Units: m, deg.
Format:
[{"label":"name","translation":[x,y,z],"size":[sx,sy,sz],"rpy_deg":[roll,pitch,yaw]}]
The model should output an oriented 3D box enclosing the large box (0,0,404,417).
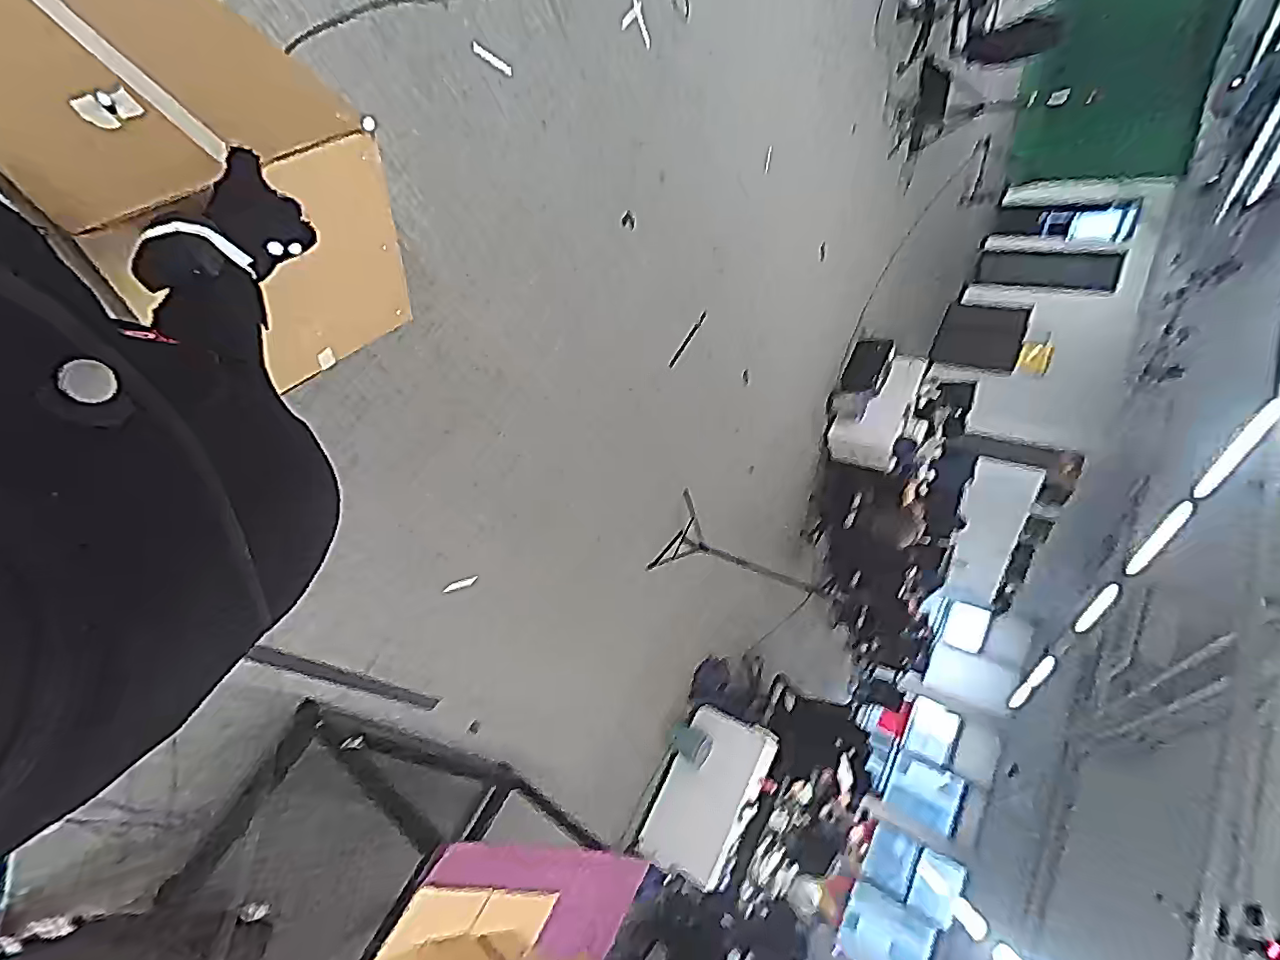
[{"label":"large box","translation":[-0.587,-0.364,0.705],"size":[0.320,0.408,0.320],"rpy_deg":[-46,173,-27]}]
